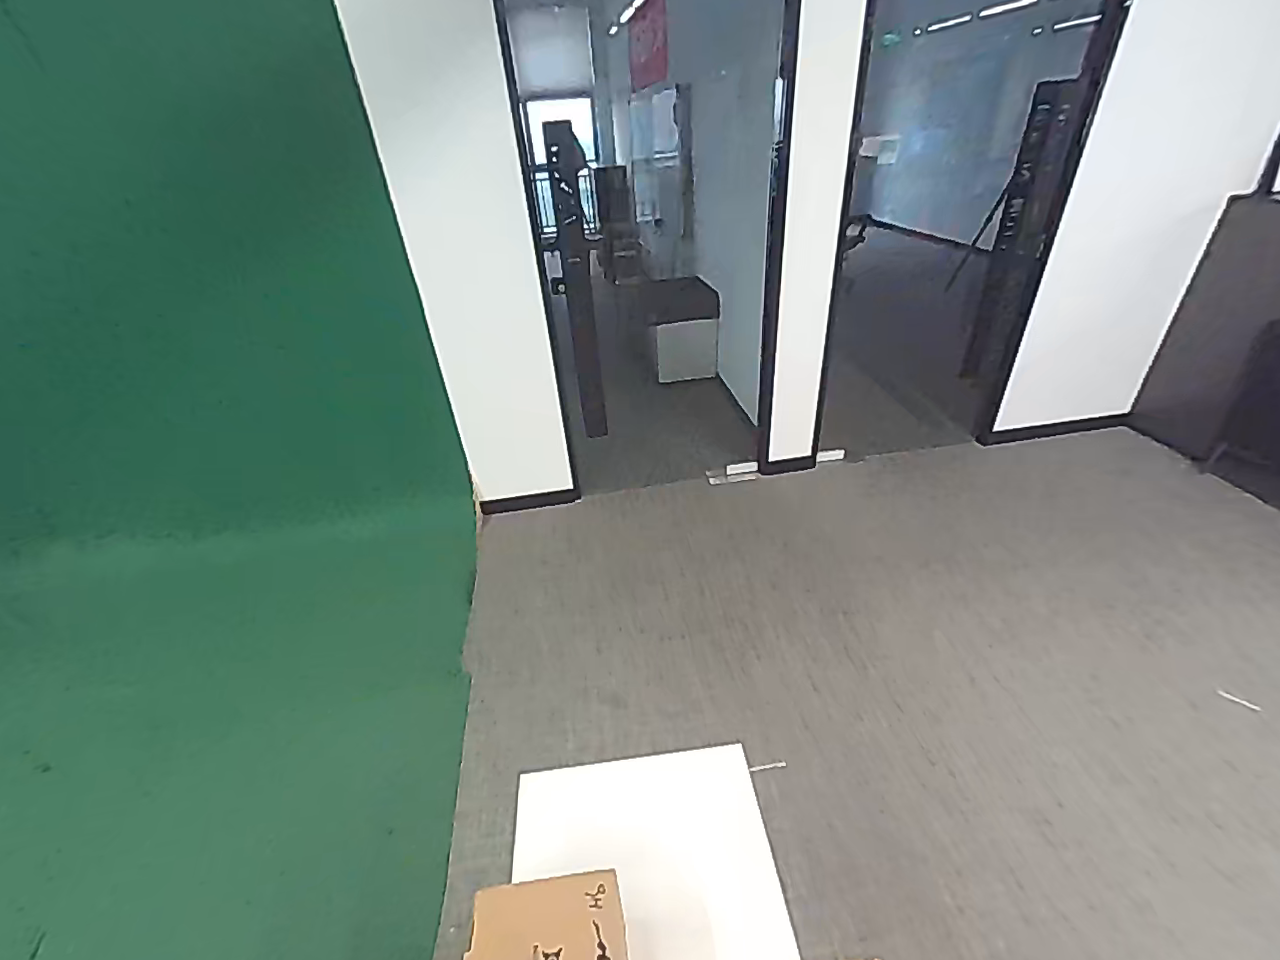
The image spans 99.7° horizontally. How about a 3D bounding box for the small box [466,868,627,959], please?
[{"bbox_3d":[-0.105,0.604,0.646,0.179,0.176,0.168,-6,32,-4],"label":"small box"}]
